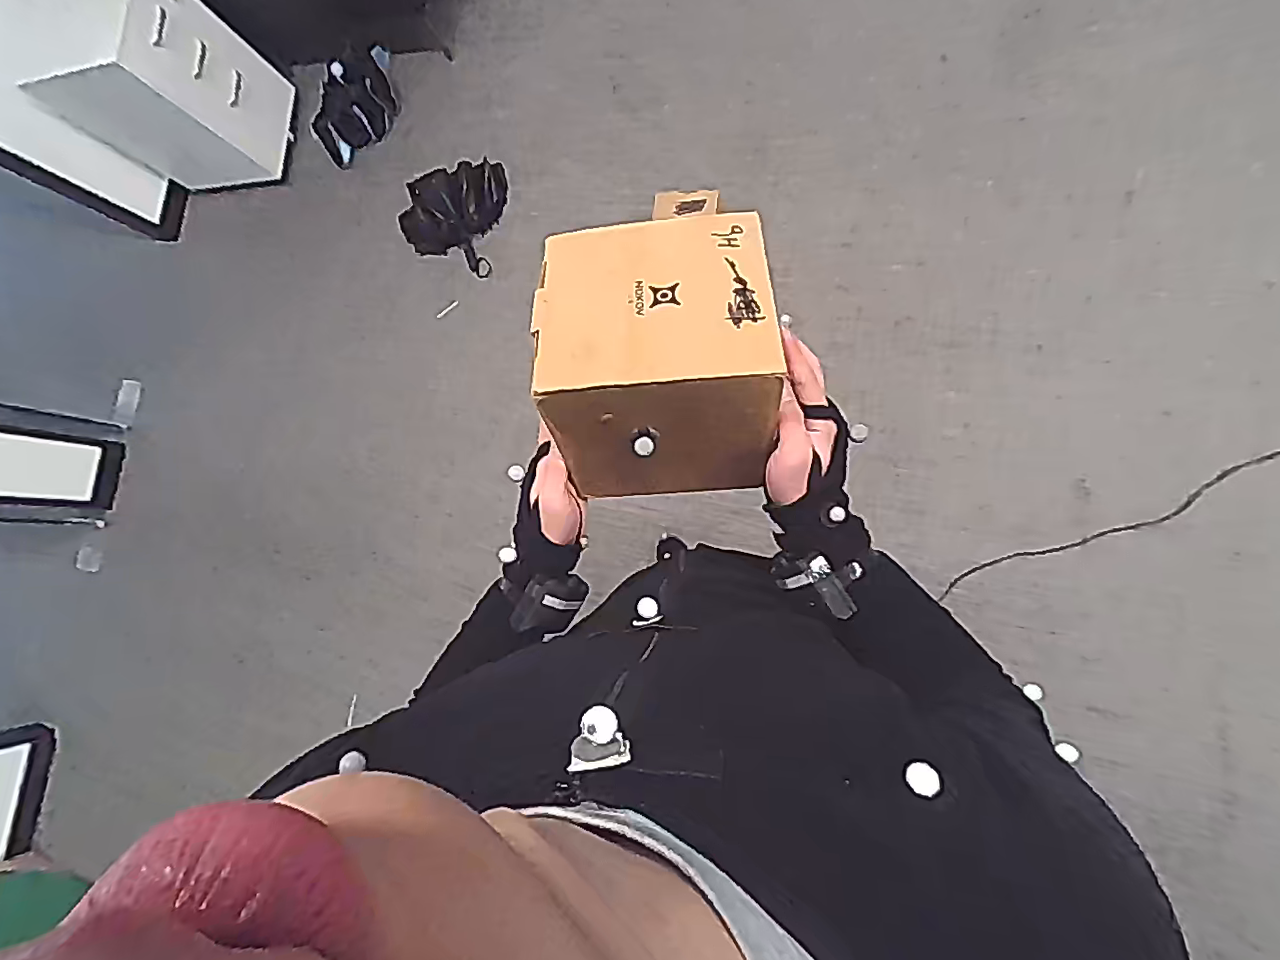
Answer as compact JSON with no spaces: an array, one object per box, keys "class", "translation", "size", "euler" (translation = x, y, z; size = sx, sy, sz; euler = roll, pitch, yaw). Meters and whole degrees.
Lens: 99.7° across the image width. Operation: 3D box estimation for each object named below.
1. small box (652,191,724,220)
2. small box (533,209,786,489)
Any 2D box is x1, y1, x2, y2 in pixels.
[{"class":"small box","translation":[0.129,-0.626,1.418],"size":[0.168,0.176,0.179],"euler":[7,87,19]},{"class":"small box","translation":[0.022,-0.101,0.471],"size":[0.179,0.176,0.168],"euler":[-4,62,6]}]
